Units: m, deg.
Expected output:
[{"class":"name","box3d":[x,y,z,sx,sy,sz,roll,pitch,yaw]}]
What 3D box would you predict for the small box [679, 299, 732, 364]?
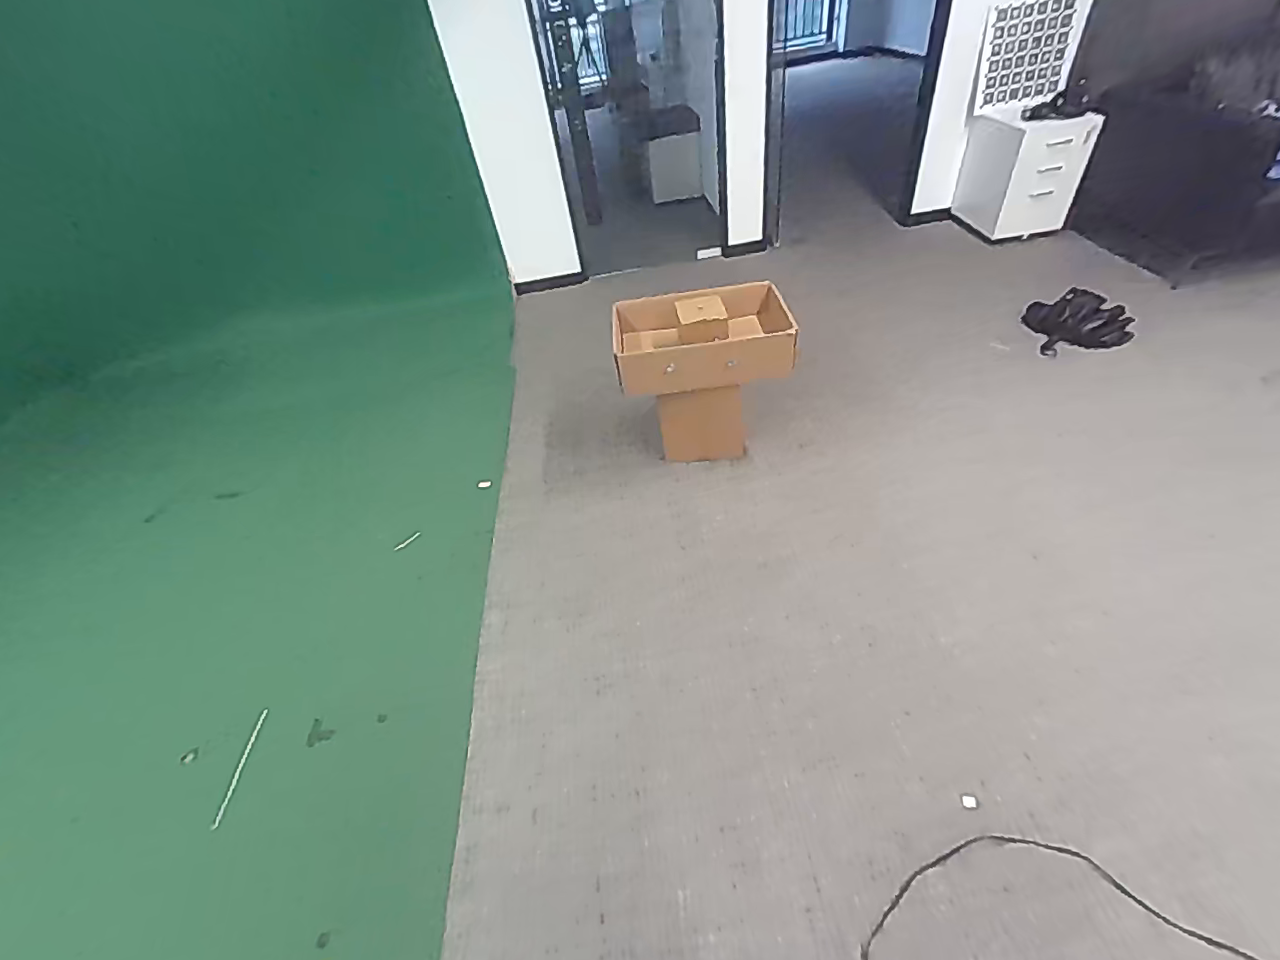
[{"class":"small box","box3d":[0.239,-0.532,1.962,0.168,0.176,0.179,-8,41,1]}]
